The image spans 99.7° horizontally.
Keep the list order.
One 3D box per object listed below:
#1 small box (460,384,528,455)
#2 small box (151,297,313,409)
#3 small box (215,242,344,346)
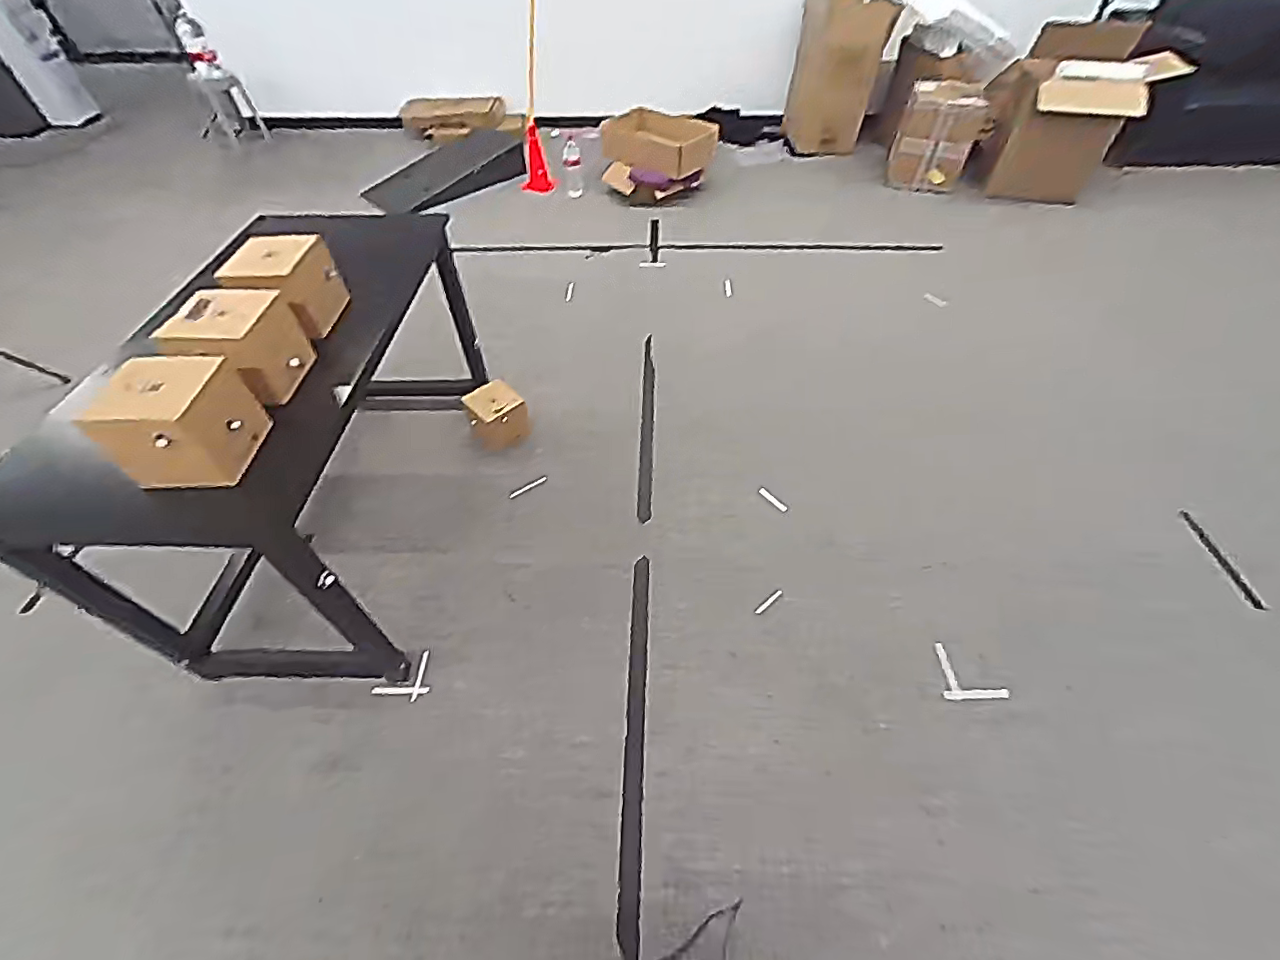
[{"bbox_3d":[-0.547,-0.226,2.038,0.179,0.176,0.168,37,60,27],"label":"small box"},{"bbox_3d":[-0.828,-0.260,1.120,0.179,0.176,0.168,0,50,1],"label":"small box"},{"bbox_3d":[-0.830,-0.436,1.271,0.168,0.176,0.179,-2,51,1],"label":"small box"}]
